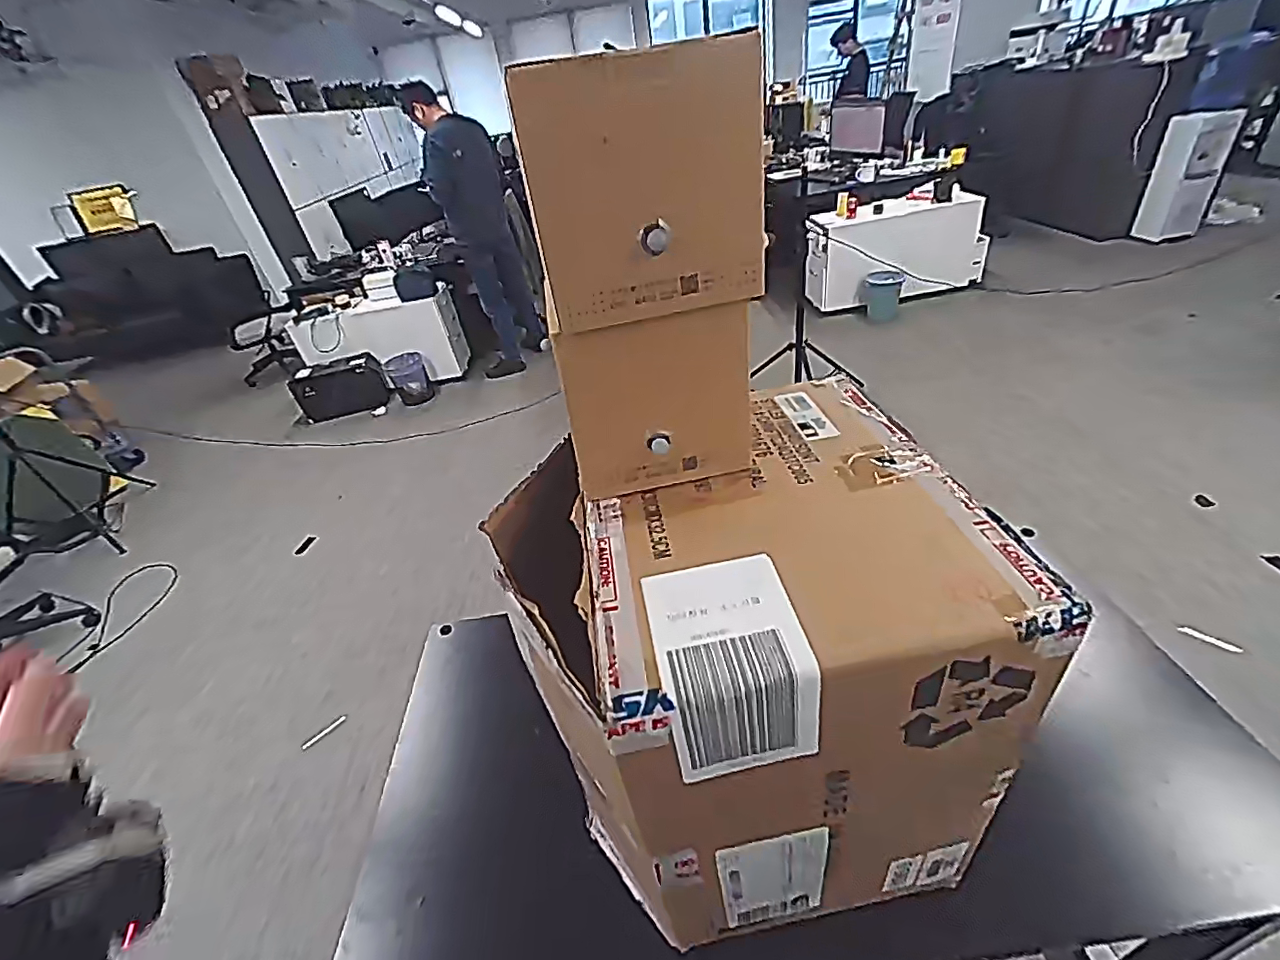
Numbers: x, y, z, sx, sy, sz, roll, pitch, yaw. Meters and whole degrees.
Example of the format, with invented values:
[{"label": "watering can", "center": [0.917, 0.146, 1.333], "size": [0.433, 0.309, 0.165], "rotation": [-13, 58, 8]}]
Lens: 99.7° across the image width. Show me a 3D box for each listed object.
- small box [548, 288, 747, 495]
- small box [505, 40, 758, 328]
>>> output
[{"label": "small box", "center": [0.004, -0.108, 0.552], "size": [0.168, 0.176, 0.179], "rotation": [-12, 34, -4]}, {"label": "small box", "center": [-0.009, -0.241, 0.454], "size": [0.168, 0.176, 0.179], "rotation": [-13, 34, -5]}]
